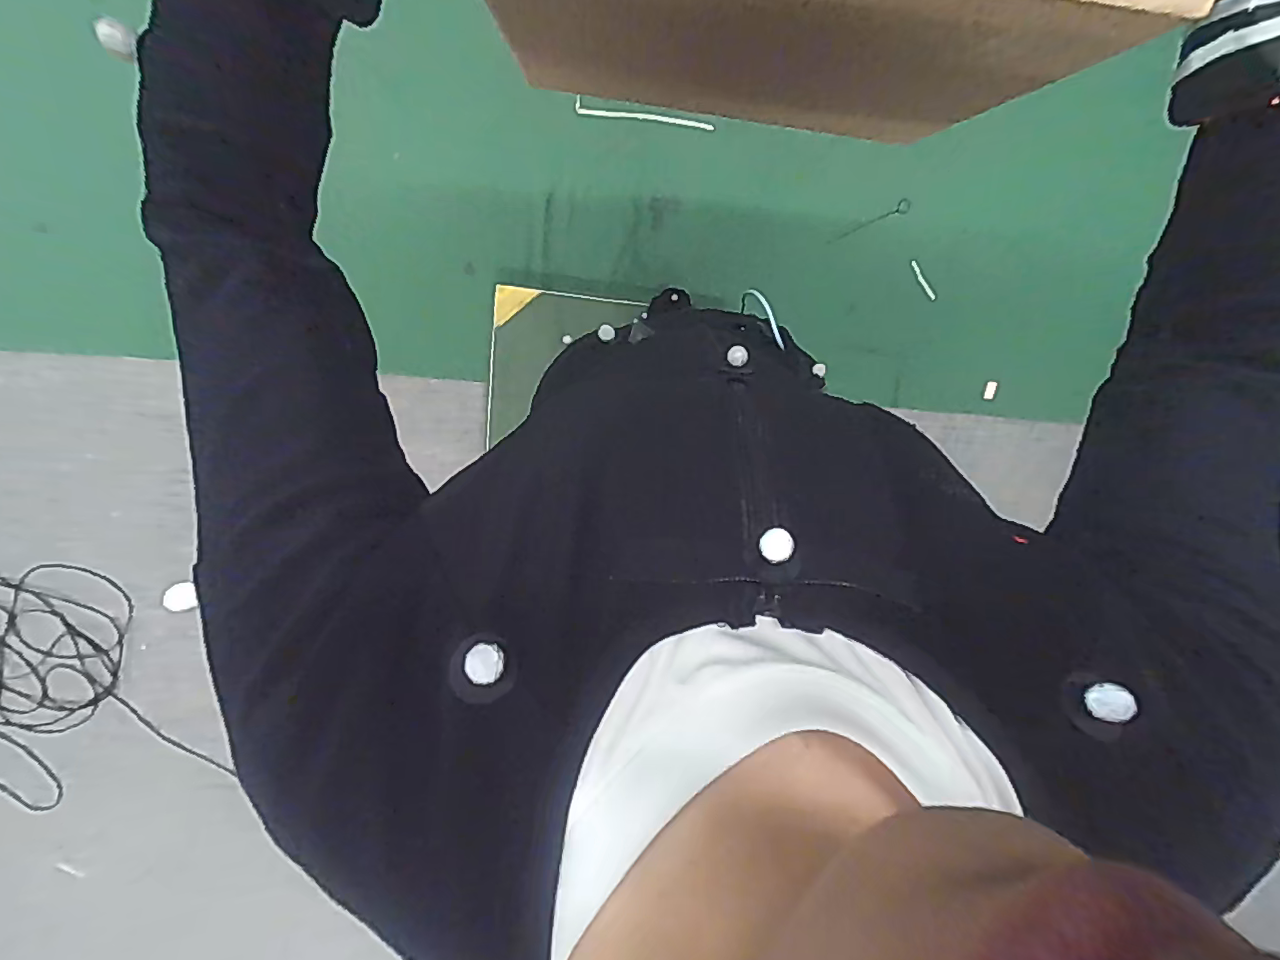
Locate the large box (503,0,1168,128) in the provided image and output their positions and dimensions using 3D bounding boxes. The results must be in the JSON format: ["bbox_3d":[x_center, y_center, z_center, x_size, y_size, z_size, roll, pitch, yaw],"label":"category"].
[{"bbox_3d":[0.110,-0.470,0.362,0.408,0.320,0.320,5,112,-5],"label":"large box"}]
